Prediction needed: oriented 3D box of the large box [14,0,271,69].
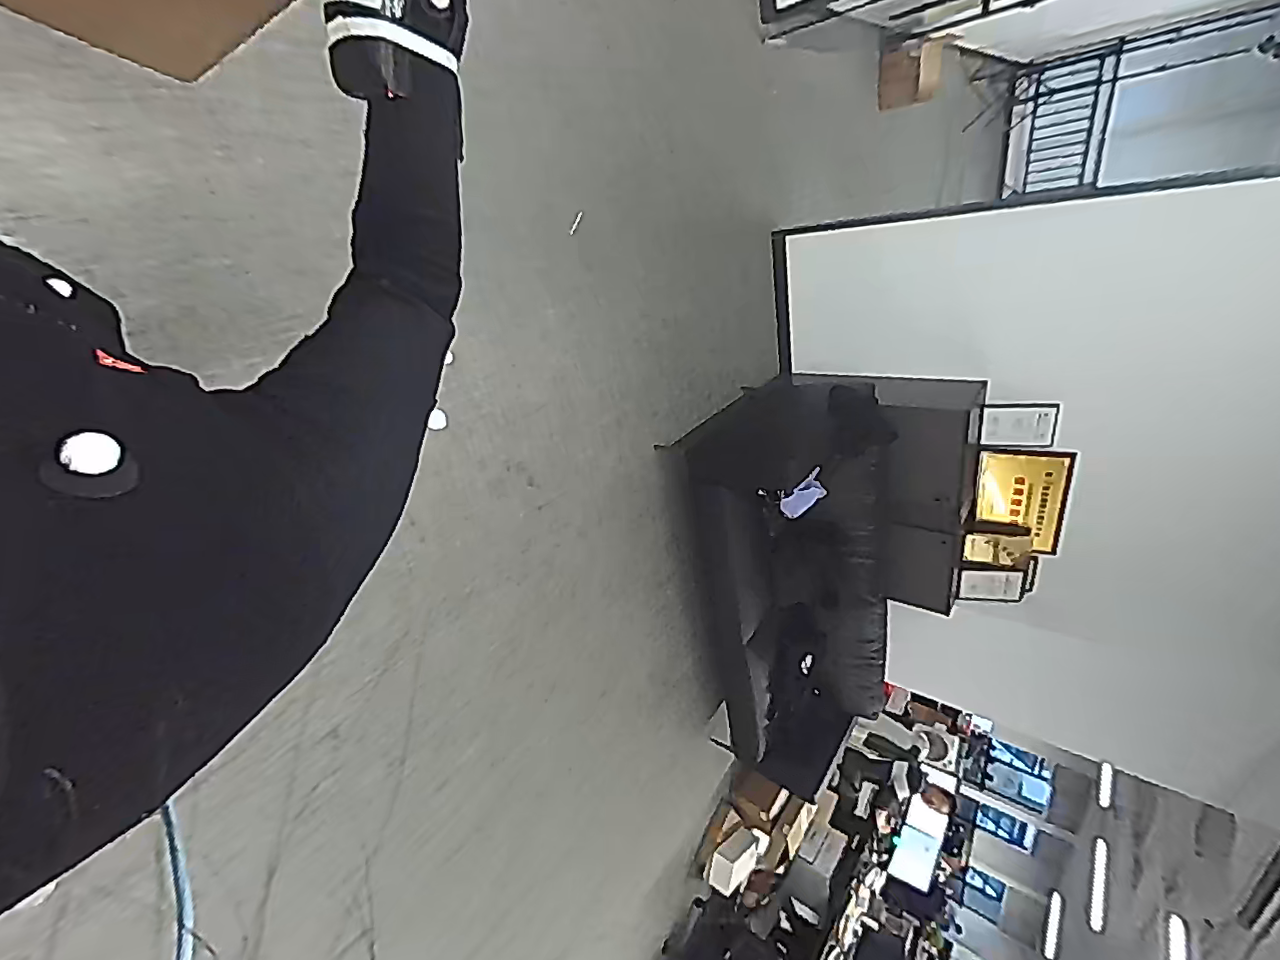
[{"bbox_3d":[-0.417,-0.485,0.244,0.408,0.320,0.320,-5,109,-50],"label":"large box"}]
